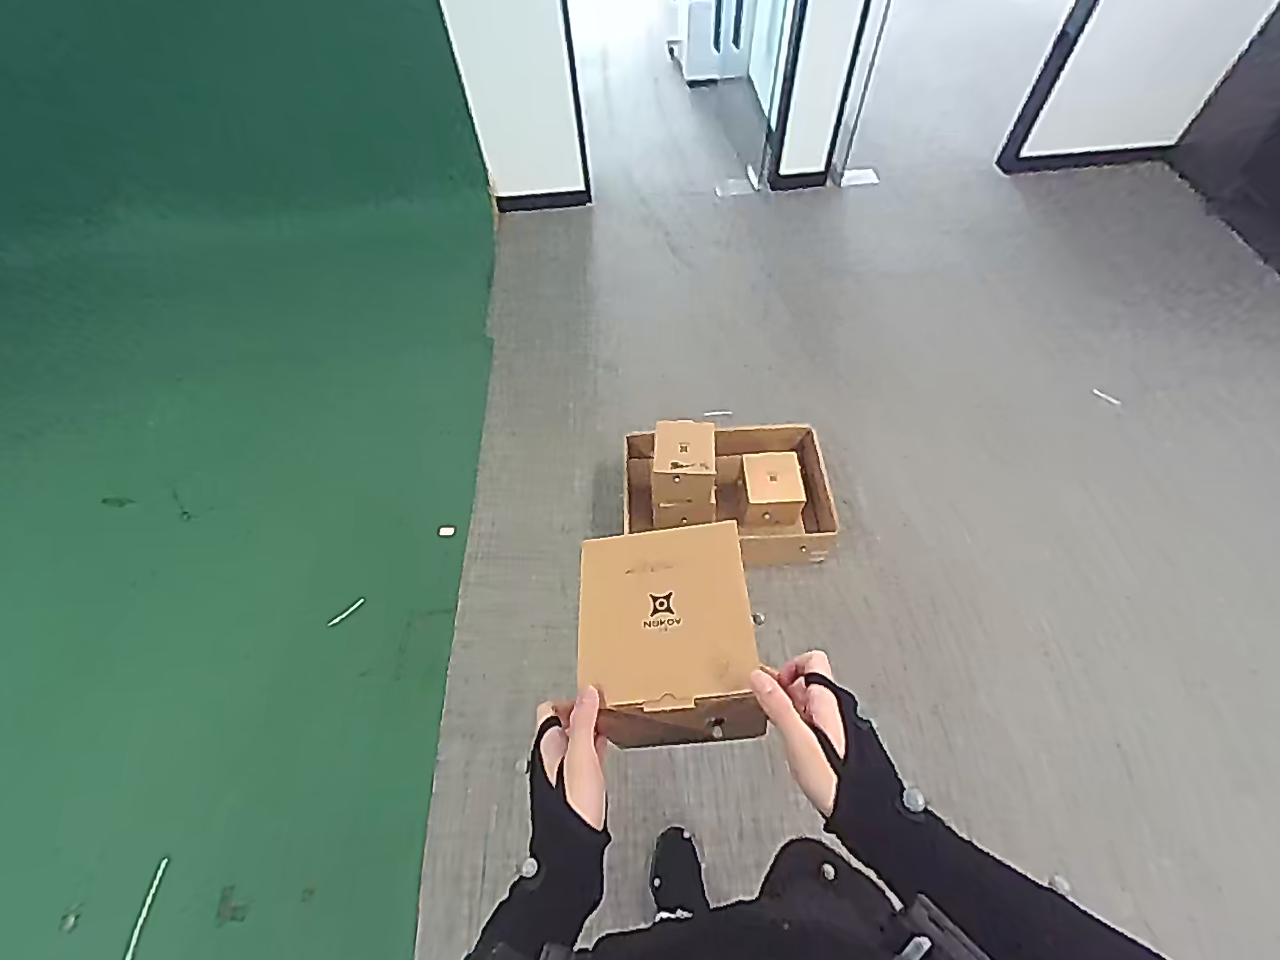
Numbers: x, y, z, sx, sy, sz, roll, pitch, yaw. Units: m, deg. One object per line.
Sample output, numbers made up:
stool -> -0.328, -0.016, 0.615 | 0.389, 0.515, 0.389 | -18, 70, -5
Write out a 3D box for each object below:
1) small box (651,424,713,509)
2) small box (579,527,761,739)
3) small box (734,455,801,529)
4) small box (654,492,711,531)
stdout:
small box -> 0.117, -0.038, 1.548 | 0.168, 0.176, 0.179 | 2, 57, 3
small box -> 0.040, 0.174, 0.587 | 0.168, 0.176, 0.179 | -6, 52, 8
small box -> 0.390, 0.043, 1.683 | 0.168, 0.176, 0.179 | -3, 58, 1
small box -> 0.127, 0.052, 1.684 | 0.168, 0.176, 0.179 | -3, 57, -1
